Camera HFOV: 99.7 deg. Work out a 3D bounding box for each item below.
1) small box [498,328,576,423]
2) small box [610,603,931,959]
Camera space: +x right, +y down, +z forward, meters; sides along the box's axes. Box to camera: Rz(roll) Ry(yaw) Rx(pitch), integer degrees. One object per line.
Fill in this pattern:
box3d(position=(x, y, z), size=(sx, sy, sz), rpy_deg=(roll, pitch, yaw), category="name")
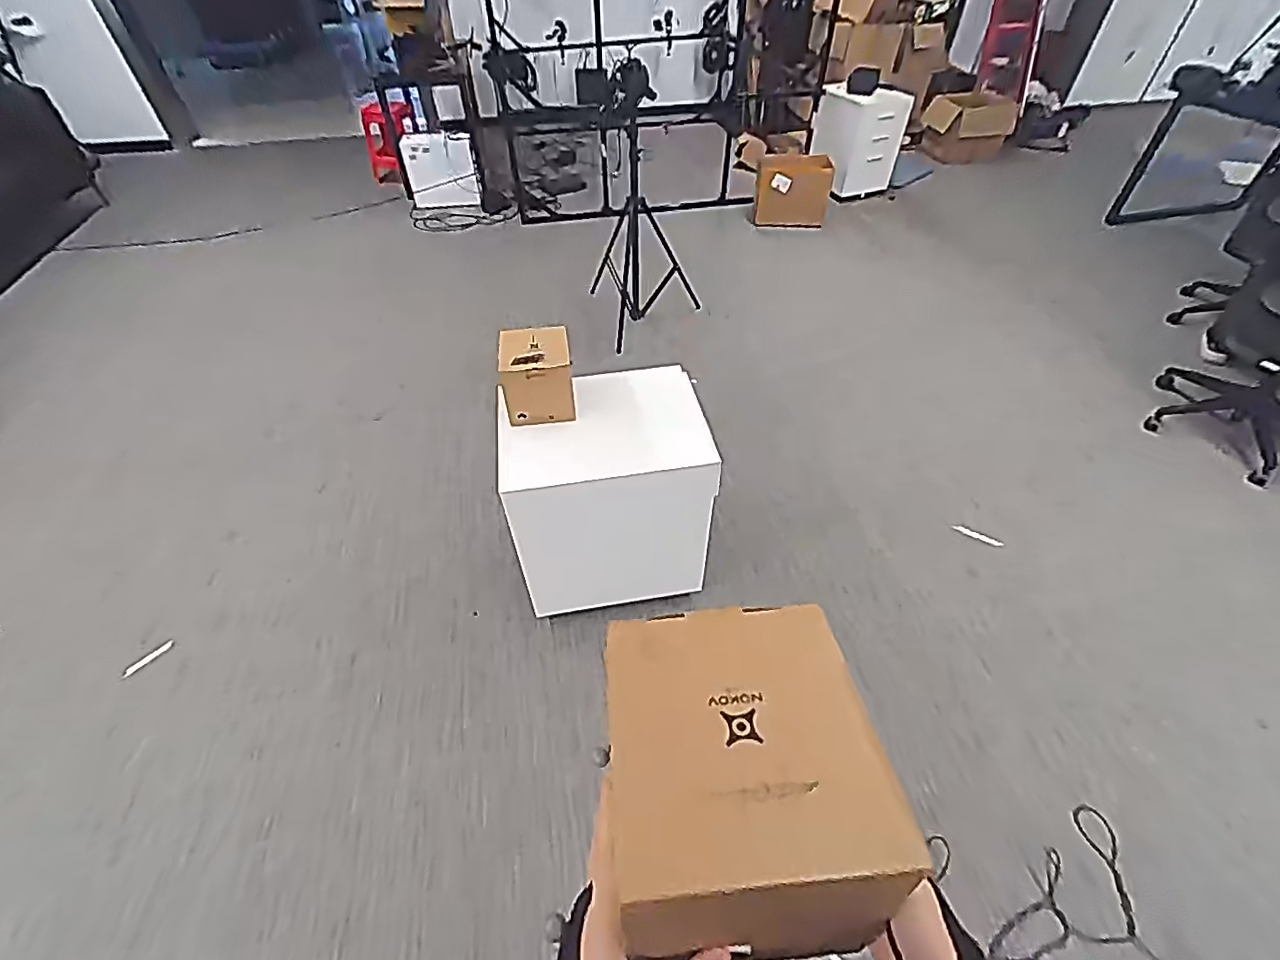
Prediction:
box3d(position=(-0.254, -0.256, 1.350), size=(0.168, 0.176, 0.179), rpy_deg=(-6, 47, -6), category="small box")
box3d(position=(0.066, 0.215, 0.391), size=(0.168, 0.176, 0.179), rpy_deg=(-5, 38, -3), category="small box")
